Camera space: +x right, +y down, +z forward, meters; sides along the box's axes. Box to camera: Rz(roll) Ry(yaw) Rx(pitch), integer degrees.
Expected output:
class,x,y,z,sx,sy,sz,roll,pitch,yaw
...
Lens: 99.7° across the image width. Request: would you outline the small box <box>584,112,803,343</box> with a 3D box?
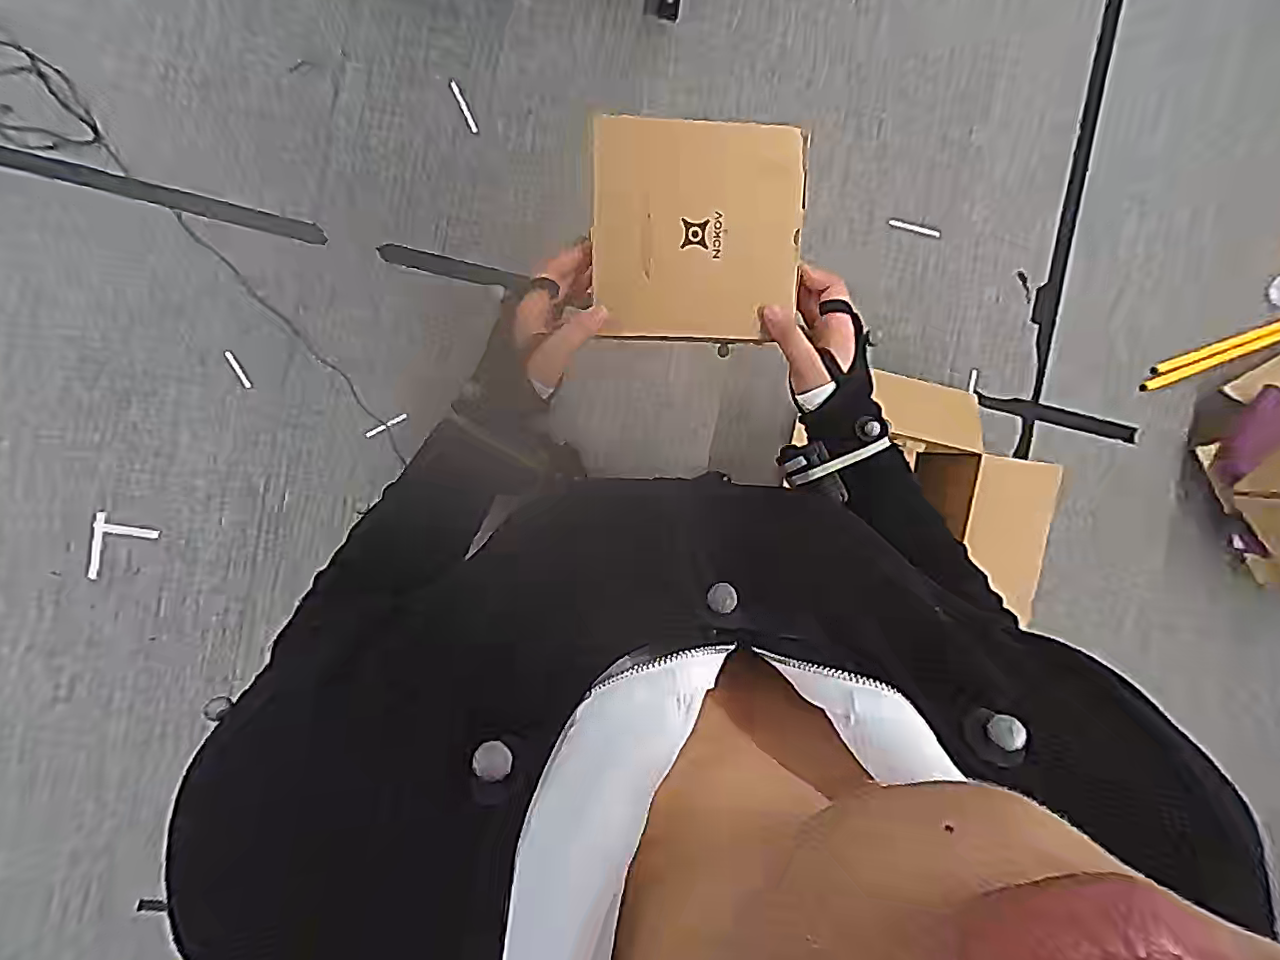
class,x,y,z,sx,sy,sz,roll,pitch,yaw
small box,0.036,-0.220,0.516,0.179,0.176,0.168,-1,102,-5
